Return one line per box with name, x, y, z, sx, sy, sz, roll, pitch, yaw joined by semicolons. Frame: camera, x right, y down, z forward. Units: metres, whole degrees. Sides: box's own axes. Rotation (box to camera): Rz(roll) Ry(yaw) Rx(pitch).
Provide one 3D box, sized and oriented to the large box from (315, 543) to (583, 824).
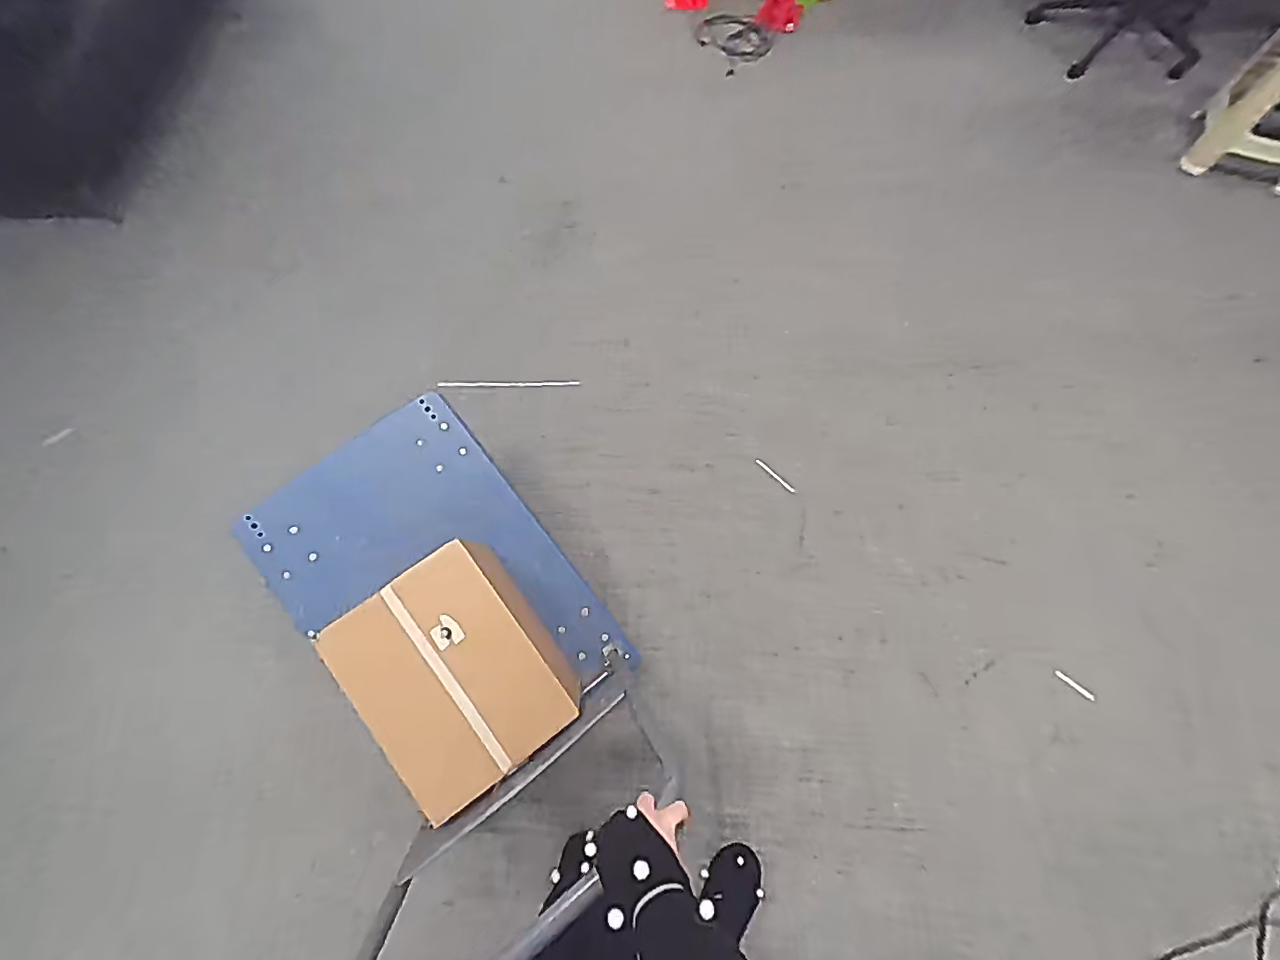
large box;-0.359;0.386;1.128;0.320;0.320;0.408;-37;85;-11
